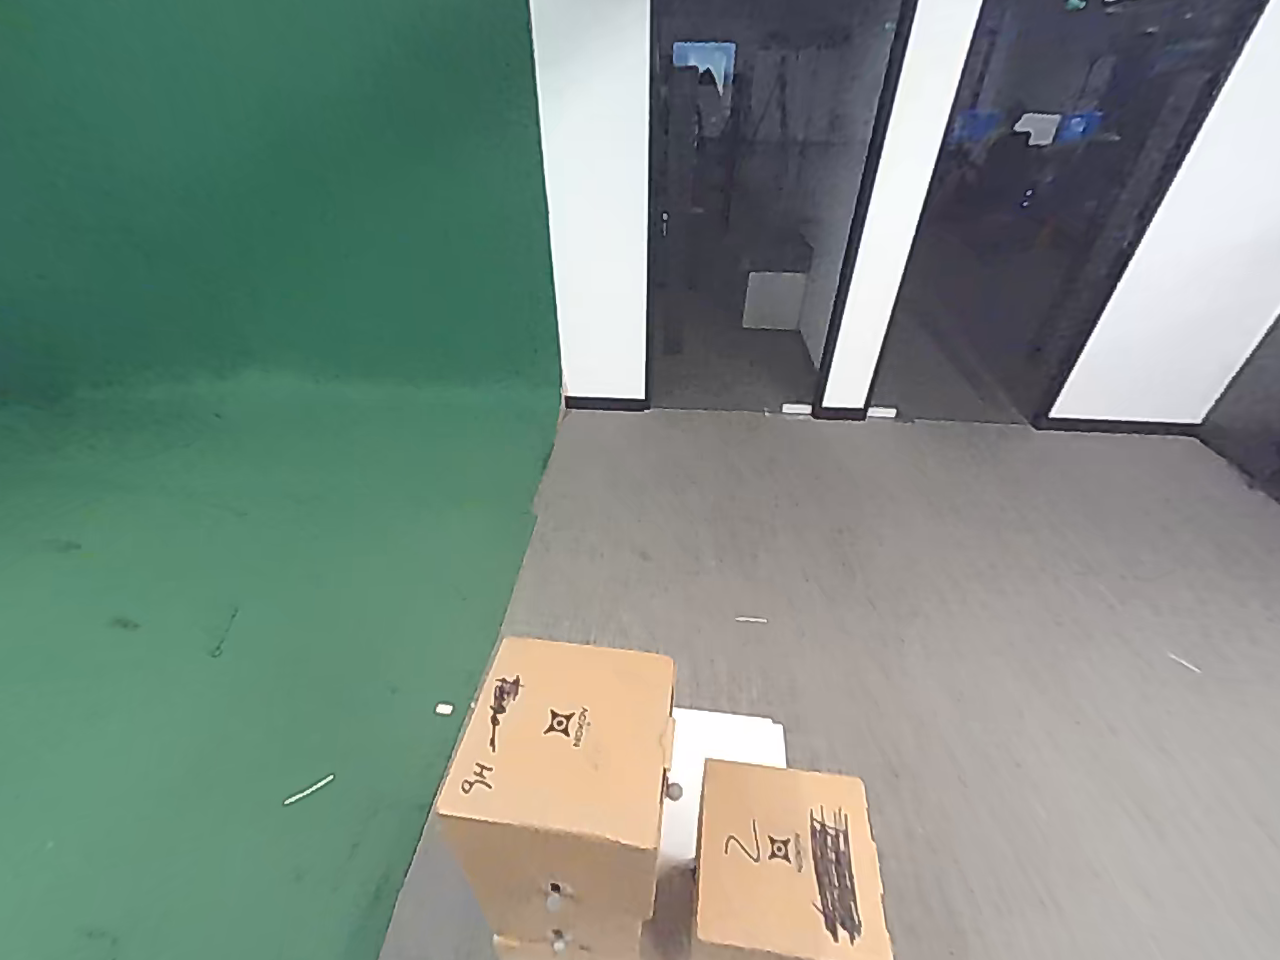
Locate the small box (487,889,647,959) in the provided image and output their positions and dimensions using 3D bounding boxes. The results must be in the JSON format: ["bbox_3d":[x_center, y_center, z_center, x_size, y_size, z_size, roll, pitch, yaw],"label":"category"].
[{"bbox_3d":[-0.068,0.408,0.622,0.168,0.176,0.179,5,37,6],"label":"small box"}]

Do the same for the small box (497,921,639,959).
[{"bbox_3d":[-0.075,0.542,0.719,0.168,0.176,0.179,5,38,5],"label":"small box"}]

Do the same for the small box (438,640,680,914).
[{"bbox_3d":[-0.061,0.282,0.517,0.179,0.176,0.168,6,37,6],"label":"small box"}]

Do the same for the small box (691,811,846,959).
[{"bbox_3d":[0.154,0.564,0.691,0.168,0.176,0.179,4,38,7],"label":"small box"}]
